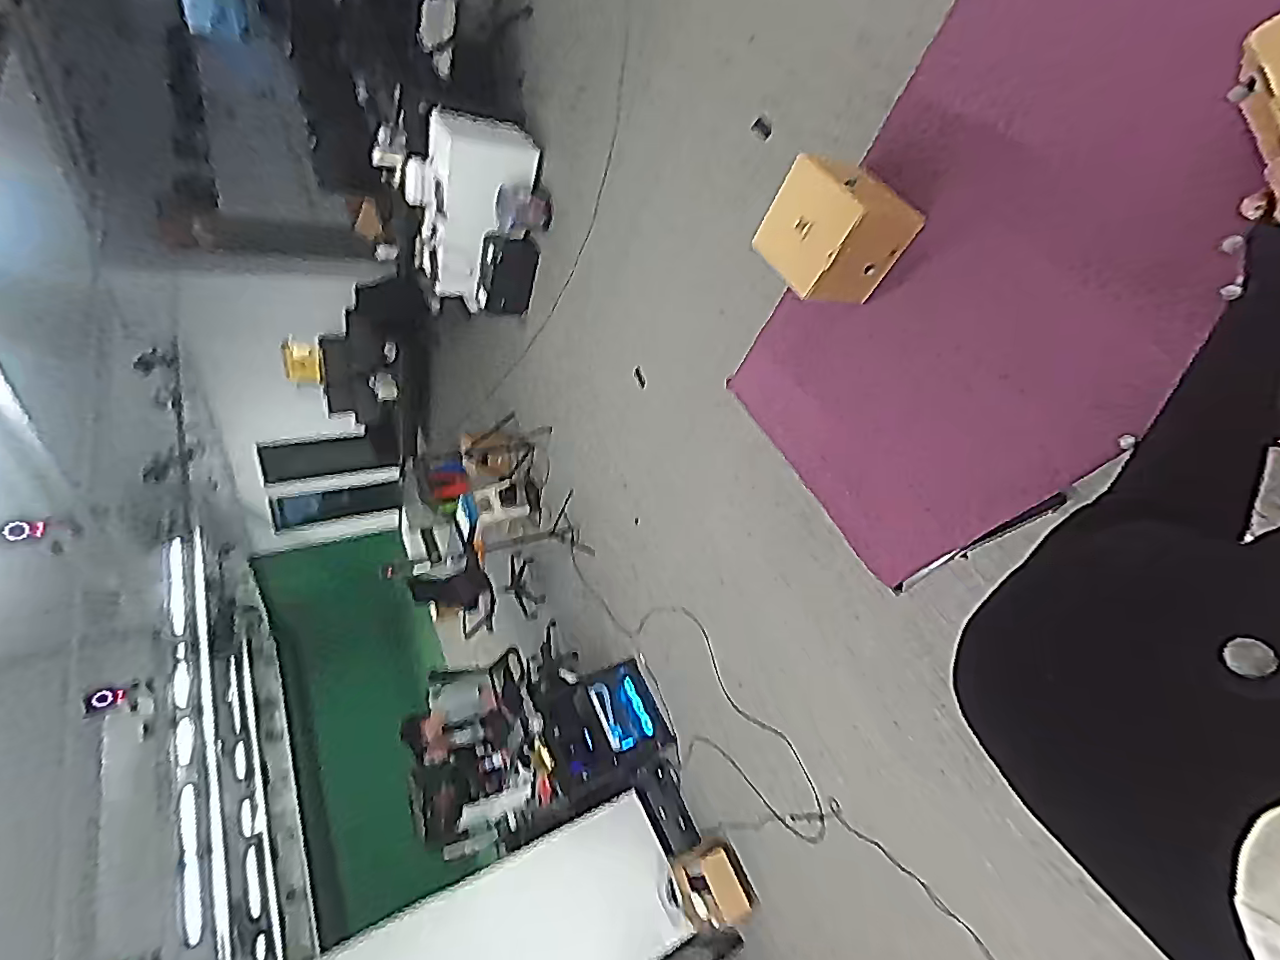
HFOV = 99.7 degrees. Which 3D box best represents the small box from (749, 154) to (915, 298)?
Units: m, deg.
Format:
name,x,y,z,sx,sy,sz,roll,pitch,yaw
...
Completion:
name,x,y,z,sx,sy,sz,roll,pitch,yaw
small box,0.335,-0.436,0.955,0.179,0.176,0.168,60,142,27
